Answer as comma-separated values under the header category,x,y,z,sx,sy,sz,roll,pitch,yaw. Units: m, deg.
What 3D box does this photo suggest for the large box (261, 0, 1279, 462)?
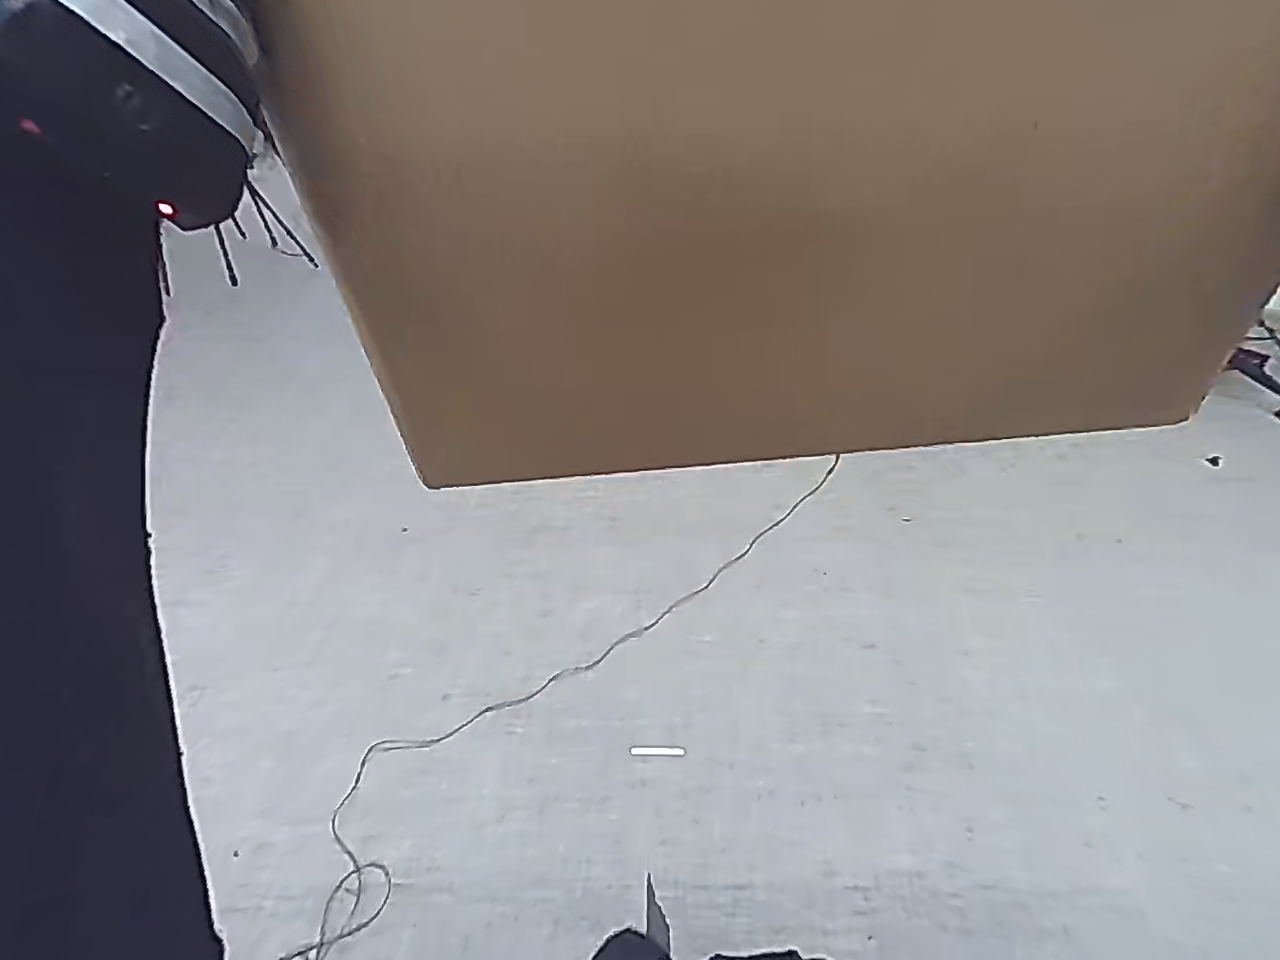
category,x,y,z,sx,sy,sz,roll,pitch,yaw
large box,0.065,-0.233,0.310,0.408,0.320,0.320,-5,40,-2
